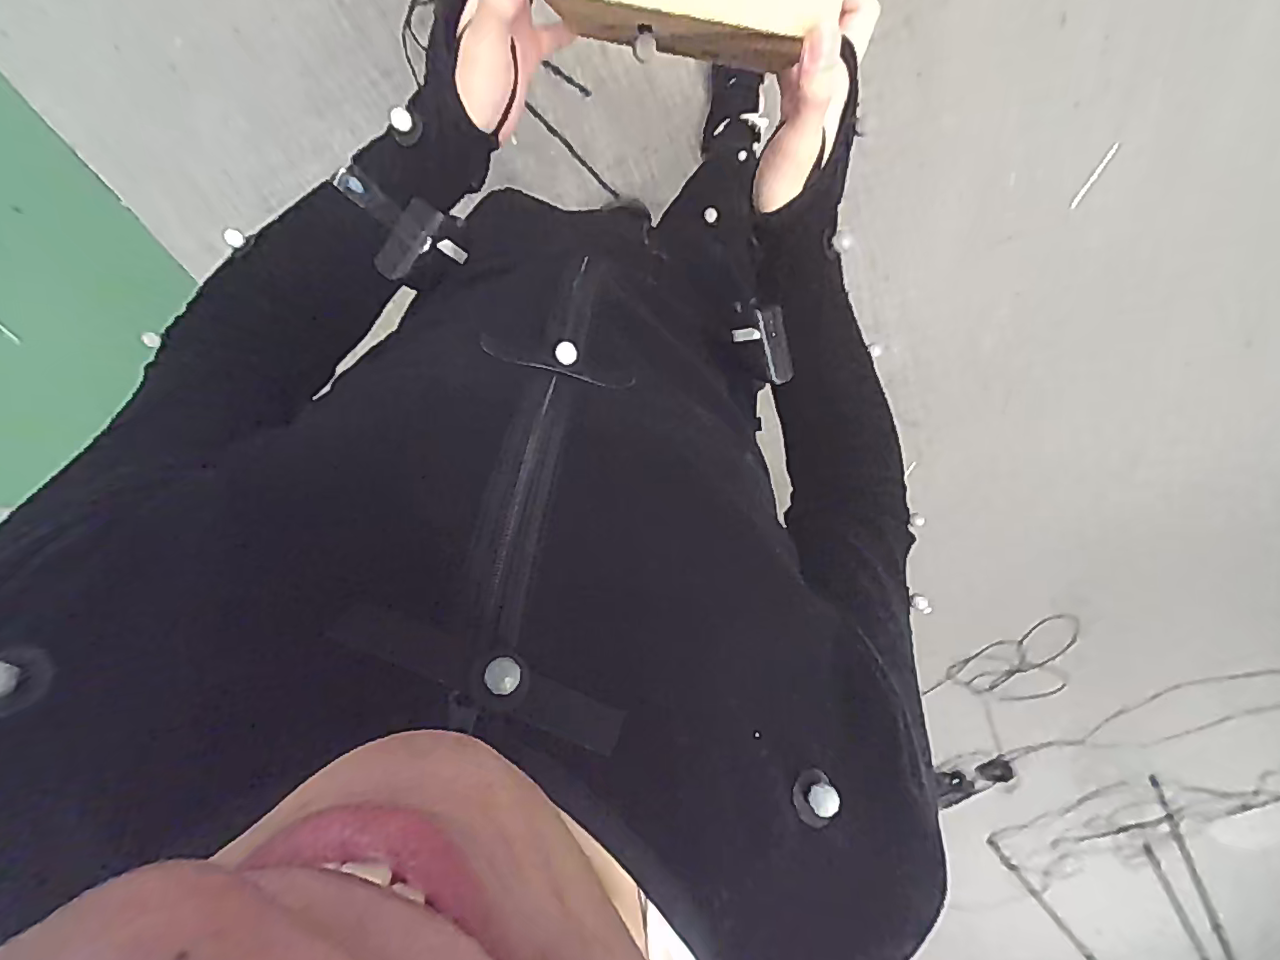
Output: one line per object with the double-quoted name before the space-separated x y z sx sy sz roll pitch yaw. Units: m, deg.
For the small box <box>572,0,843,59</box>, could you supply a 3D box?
"small box" 0.044 -0.364 0.304 0.168 0.176 0.179 9 121 0
